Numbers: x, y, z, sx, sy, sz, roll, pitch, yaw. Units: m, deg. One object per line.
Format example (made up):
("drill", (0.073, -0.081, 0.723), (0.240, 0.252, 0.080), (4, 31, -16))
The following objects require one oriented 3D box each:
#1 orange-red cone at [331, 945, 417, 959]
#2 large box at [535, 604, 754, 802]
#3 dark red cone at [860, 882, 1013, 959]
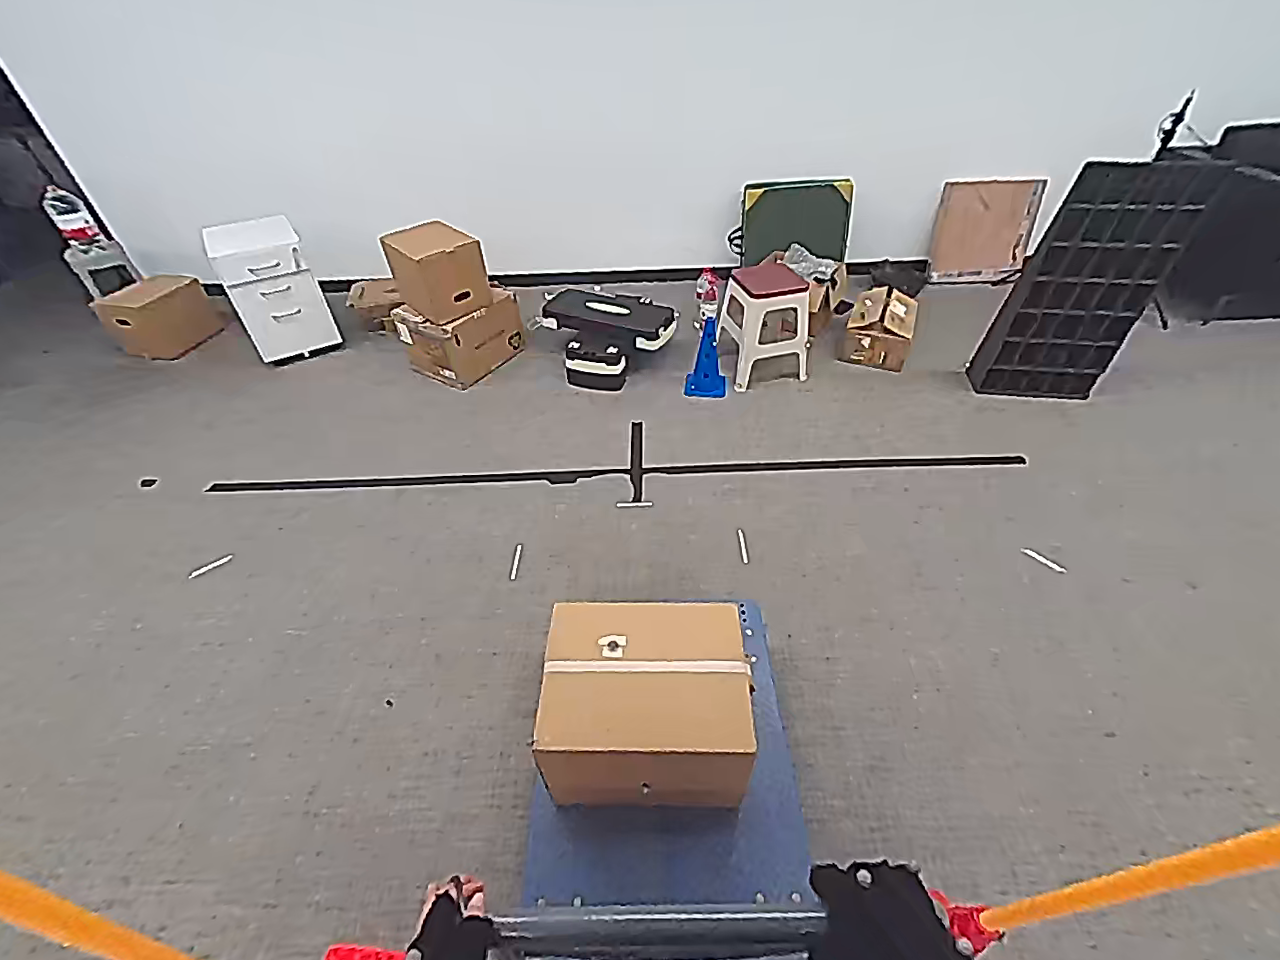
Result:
("orange-red cone", (-0.561, 0.926, 0.950), (0.198, 0.360, 0.199), (4, 41, 6))
("large box", (0.015, 0.489, 1.181), (0.408, 0.320, 0.320), (-1, 43, 2))
("dark red cone", (0.567, 0.817, 0.983), (0.201, 0.394, 0.202), (0, 43, 0))
